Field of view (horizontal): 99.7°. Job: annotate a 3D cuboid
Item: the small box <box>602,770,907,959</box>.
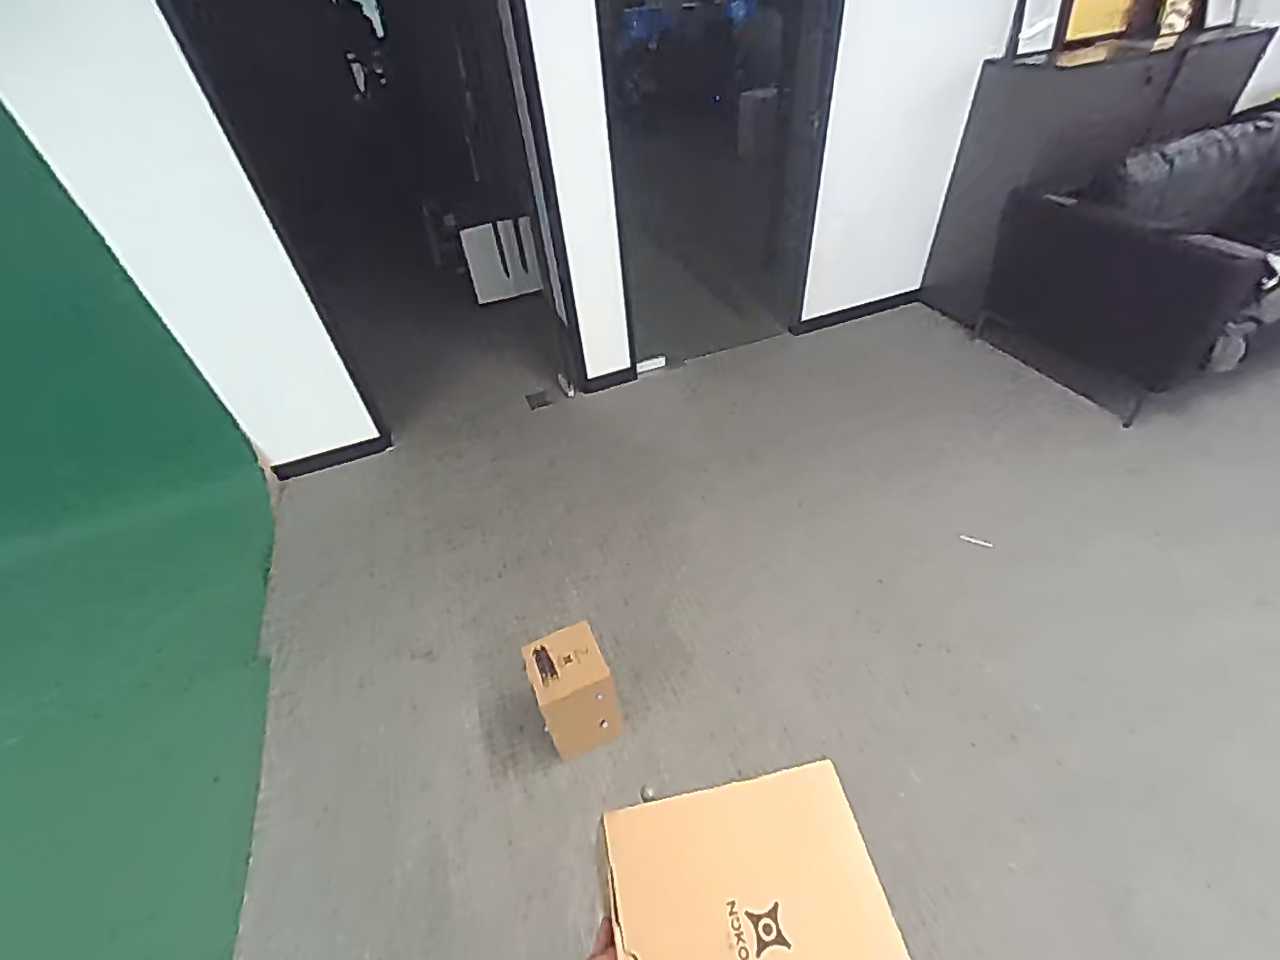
[{"bbox_3d":[0.070,0.336,0.401,0.179,0.176,0.168,-8,52,-10],"label":"small box"}]
